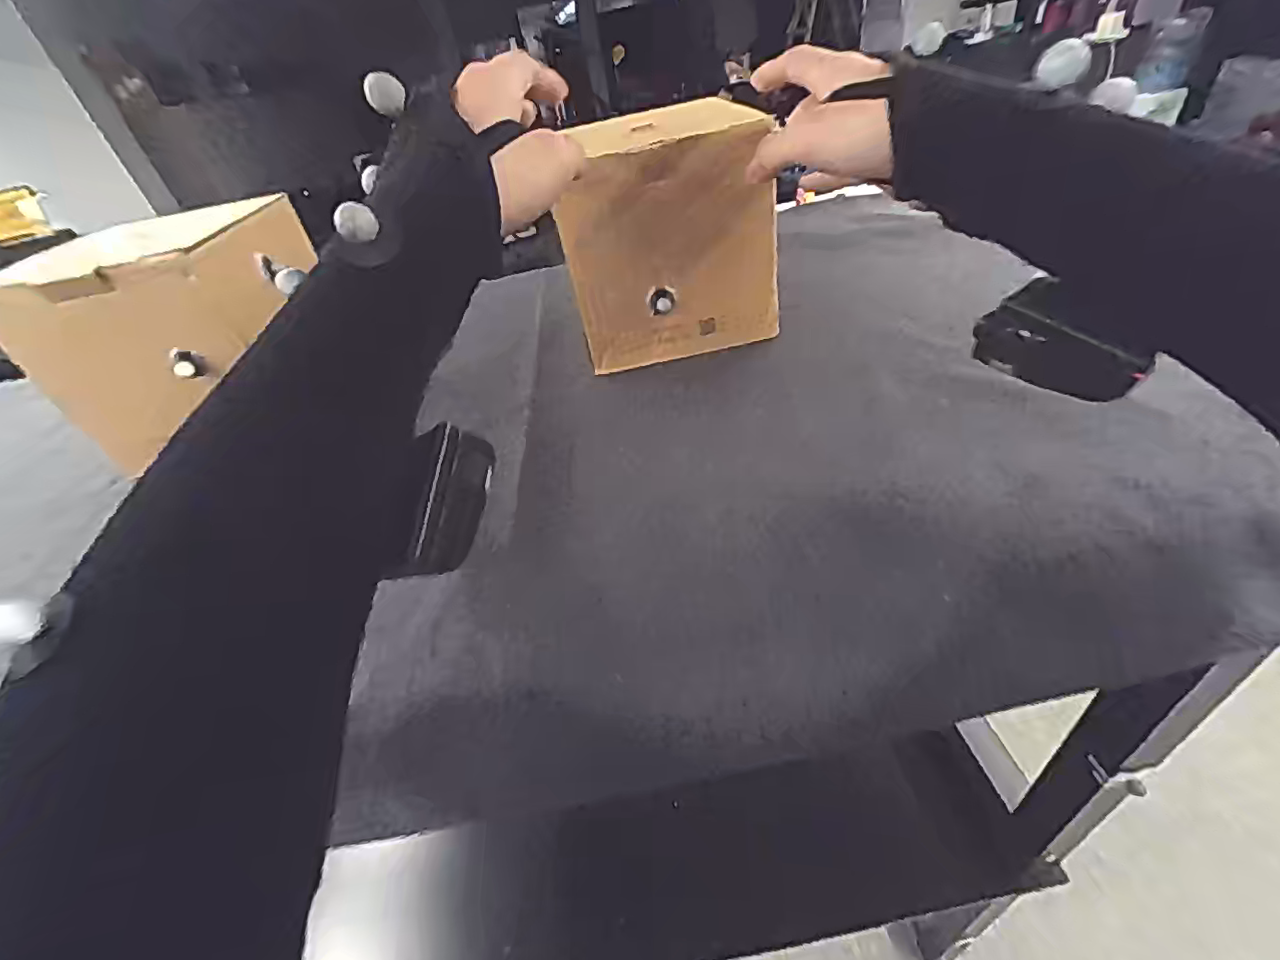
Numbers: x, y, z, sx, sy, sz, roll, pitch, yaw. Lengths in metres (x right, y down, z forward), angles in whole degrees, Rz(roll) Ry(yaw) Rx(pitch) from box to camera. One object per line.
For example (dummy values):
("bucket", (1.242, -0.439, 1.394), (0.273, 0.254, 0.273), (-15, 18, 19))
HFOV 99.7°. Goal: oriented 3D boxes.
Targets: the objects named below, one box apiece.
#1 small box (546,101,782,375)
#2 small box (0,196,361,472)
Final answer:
("small box", (0.018, -0.217, 0.482), (0.168, 0.176, 0.179), (-13, 40, 0))
("small box", (-0.378, -0.122, 0.473), (0.168, 0.176, 0.179), (-11, 40, 1))
